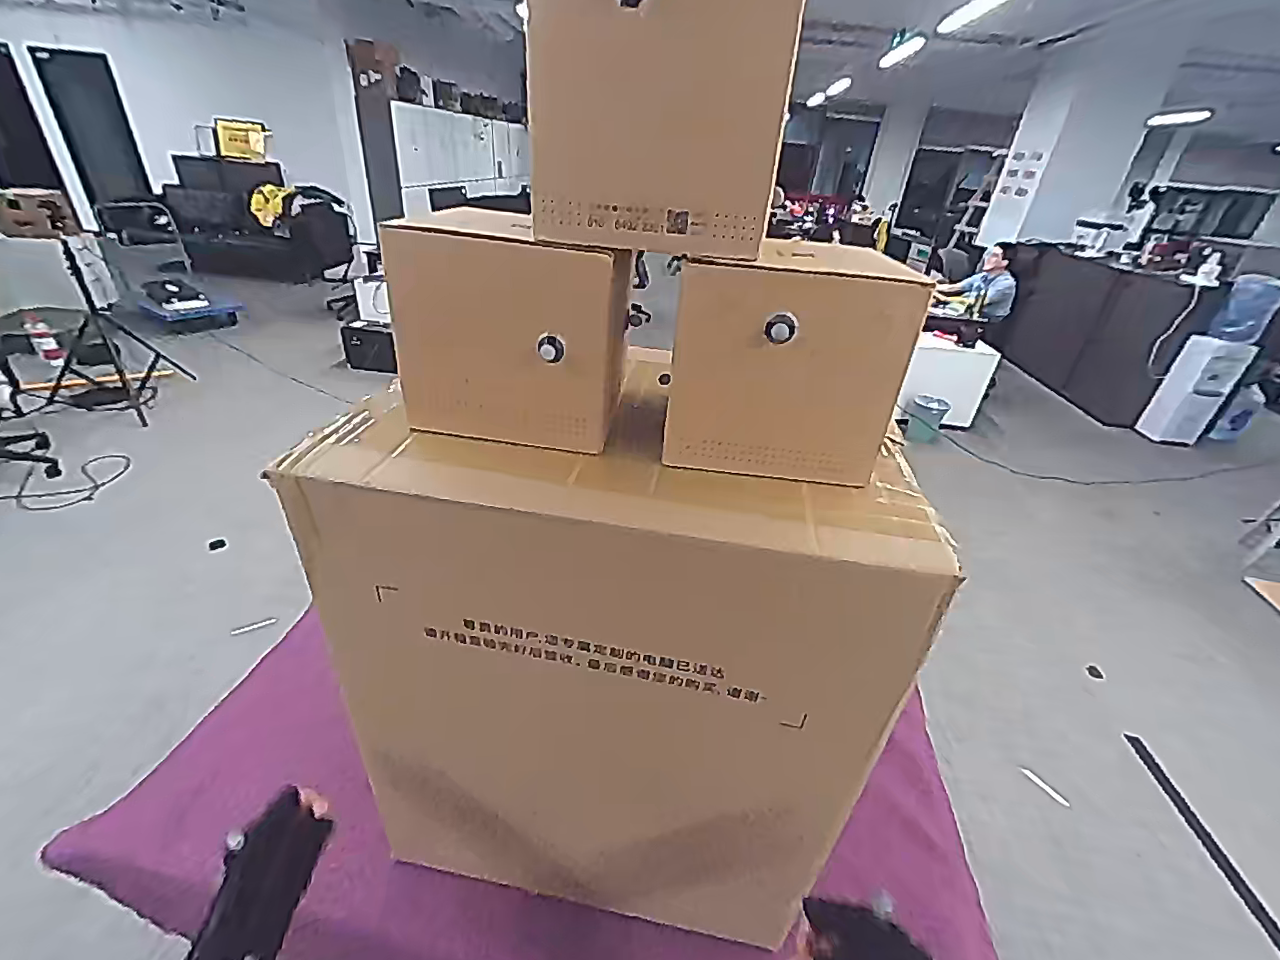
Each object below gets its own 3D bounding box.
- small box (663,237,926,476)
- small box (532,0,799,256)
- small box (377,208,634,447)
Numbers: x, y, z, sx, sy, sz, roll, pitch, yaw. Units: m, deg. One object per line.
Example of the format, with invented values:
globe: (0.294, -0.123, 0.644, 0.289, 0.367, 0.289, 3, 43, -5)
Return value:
small box: (0.115, -0.117, 0.484, 0.179, 0.176, 0.168, 6, 30, 2)
small box: (0.016, -0.275, 0.418, 0.168, 0.176, 0.179, 6, 29, 4)
small box: (-0.106, -0.143, 0.497, 0.179, 0.176, 0.168, 7, 30, 2)
